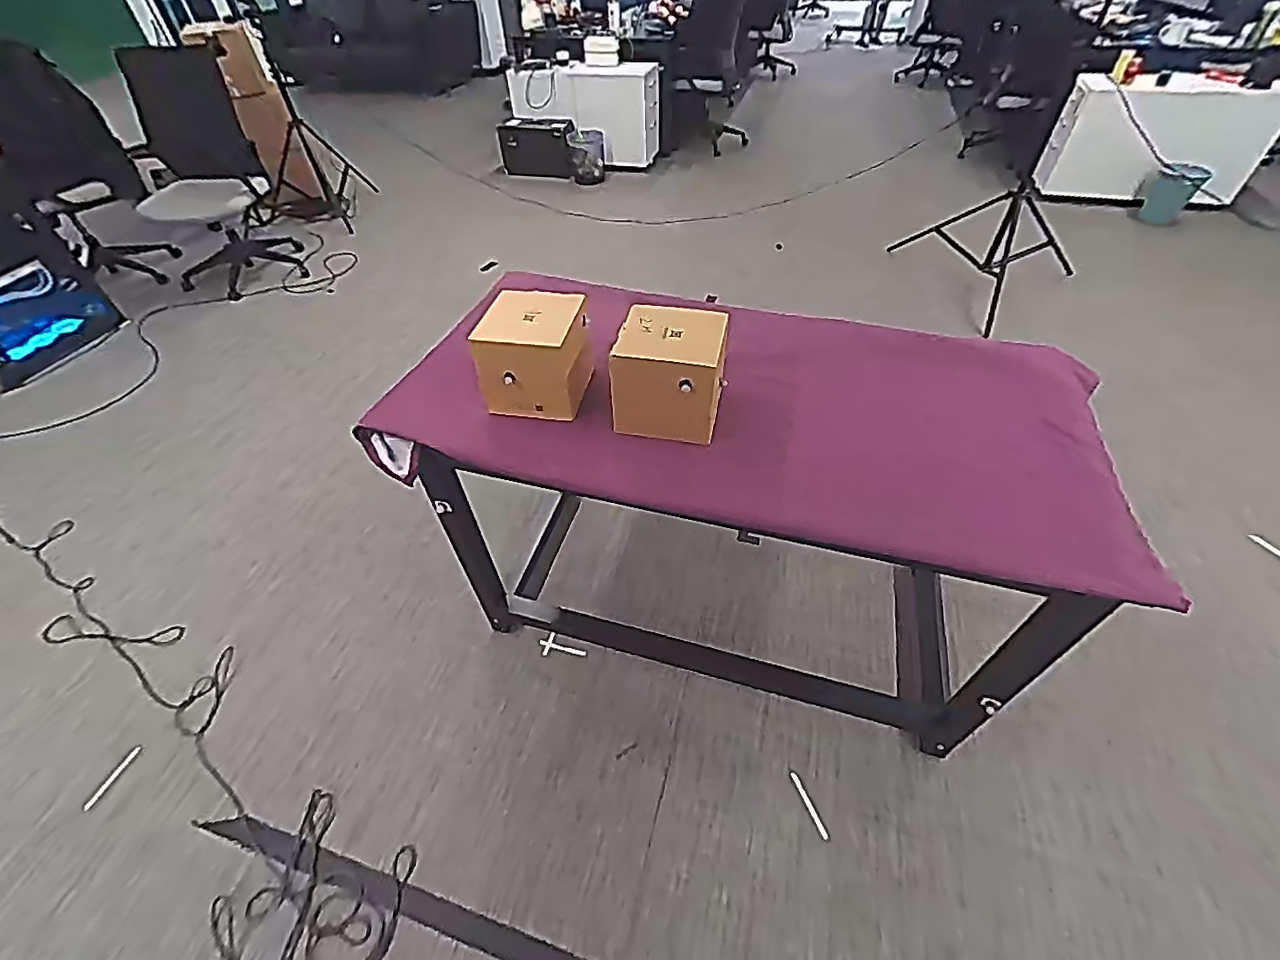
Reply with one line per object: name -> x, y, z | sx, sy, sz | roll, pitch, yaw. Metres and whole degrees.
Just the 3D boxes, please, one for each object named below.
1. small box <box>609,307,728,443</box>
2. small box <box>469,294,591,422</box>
small box -> 0.053, -0.184, 0.962 | 0.179, 0.176, 0.168 | 8, 46, 9
small box -> -0.193, -0.228, 1.018 | 0.168, 0.176, 0.179 | 6, 47, 8
